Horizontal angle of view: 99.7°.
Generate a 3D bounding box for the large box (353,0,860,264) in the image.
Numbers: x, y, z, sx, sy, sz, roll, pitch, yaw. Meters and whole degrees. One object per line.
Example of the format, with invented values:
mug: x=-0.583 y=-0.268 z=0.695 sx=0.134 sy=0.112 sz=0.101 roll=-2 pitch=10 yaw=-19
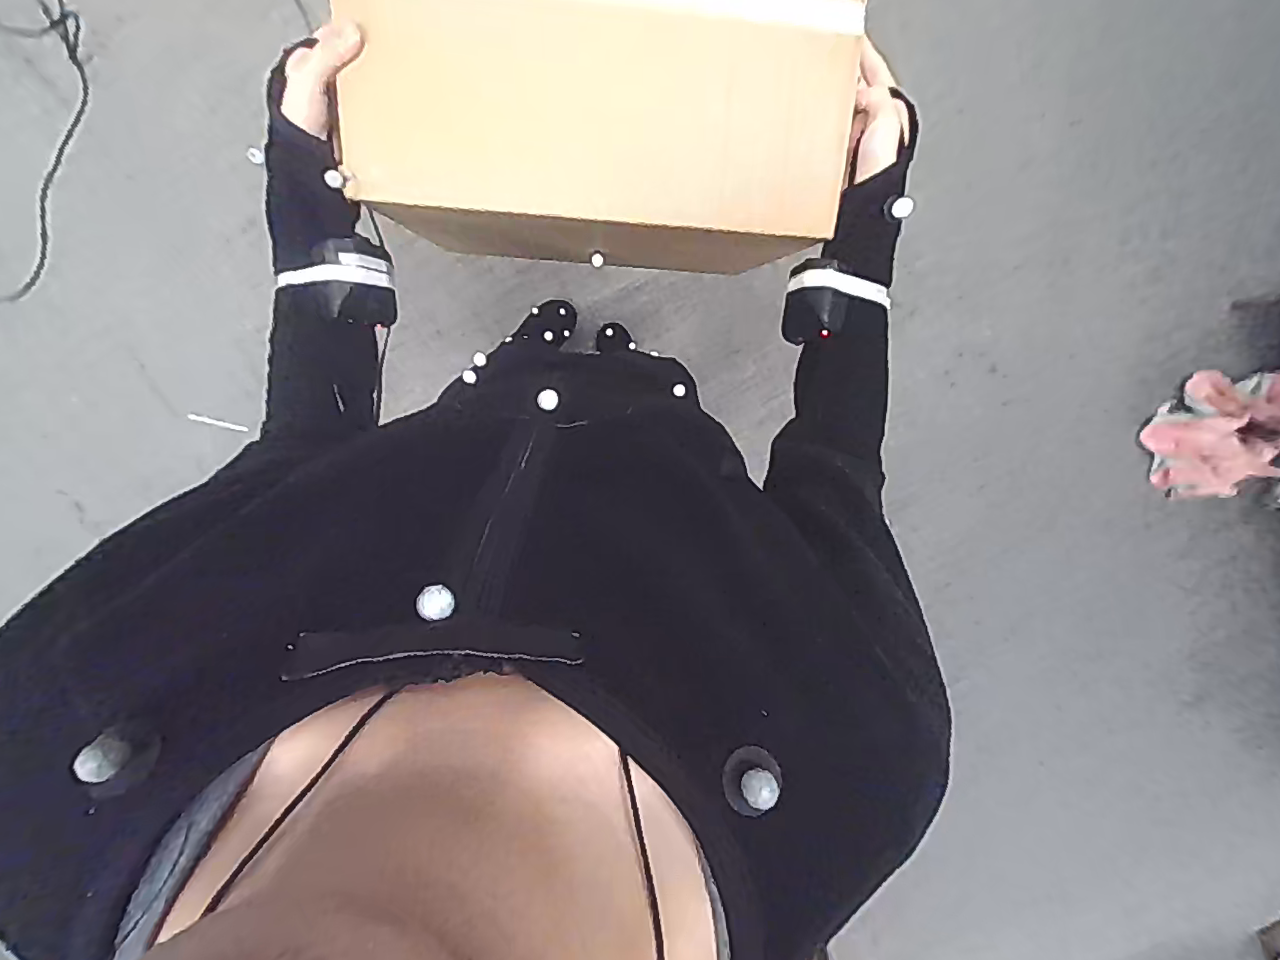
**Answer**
large box: x=-0.030 y=-0.410 z=0.567 sx=0.408 sy=0.320 sz=0.320 roll=1 pitch=104 yaw=-5
